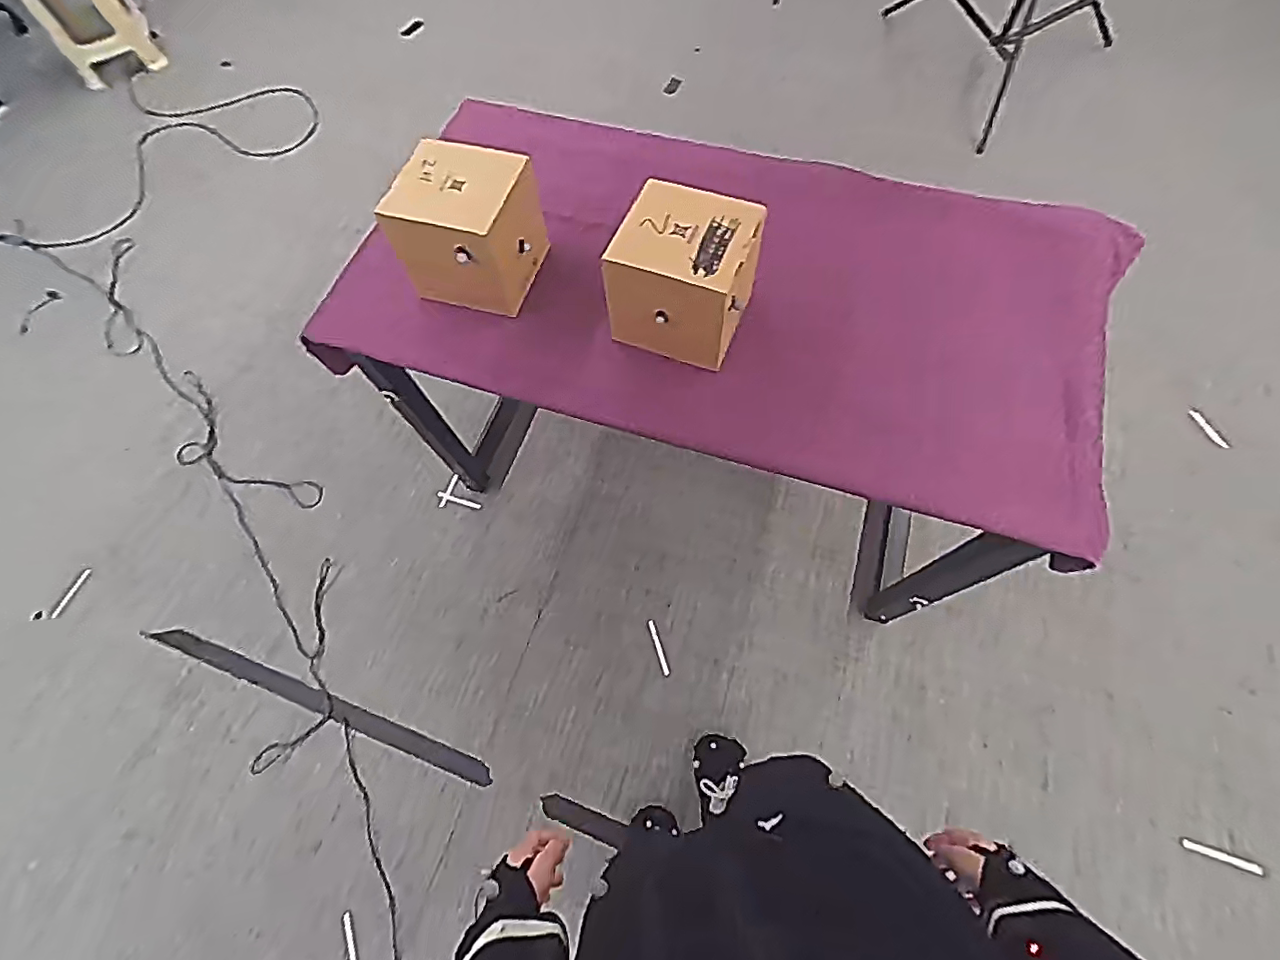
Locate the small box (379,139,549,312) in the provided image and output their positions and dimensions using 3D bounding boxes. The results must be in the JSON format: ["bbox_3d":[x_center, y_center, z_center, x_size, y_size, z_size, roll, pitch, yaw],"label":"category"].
[{"bbox_3d":[-0.259,-0.390,0.847,0.179,0.176,0.168,15,67,9],"label":"small box"}]
